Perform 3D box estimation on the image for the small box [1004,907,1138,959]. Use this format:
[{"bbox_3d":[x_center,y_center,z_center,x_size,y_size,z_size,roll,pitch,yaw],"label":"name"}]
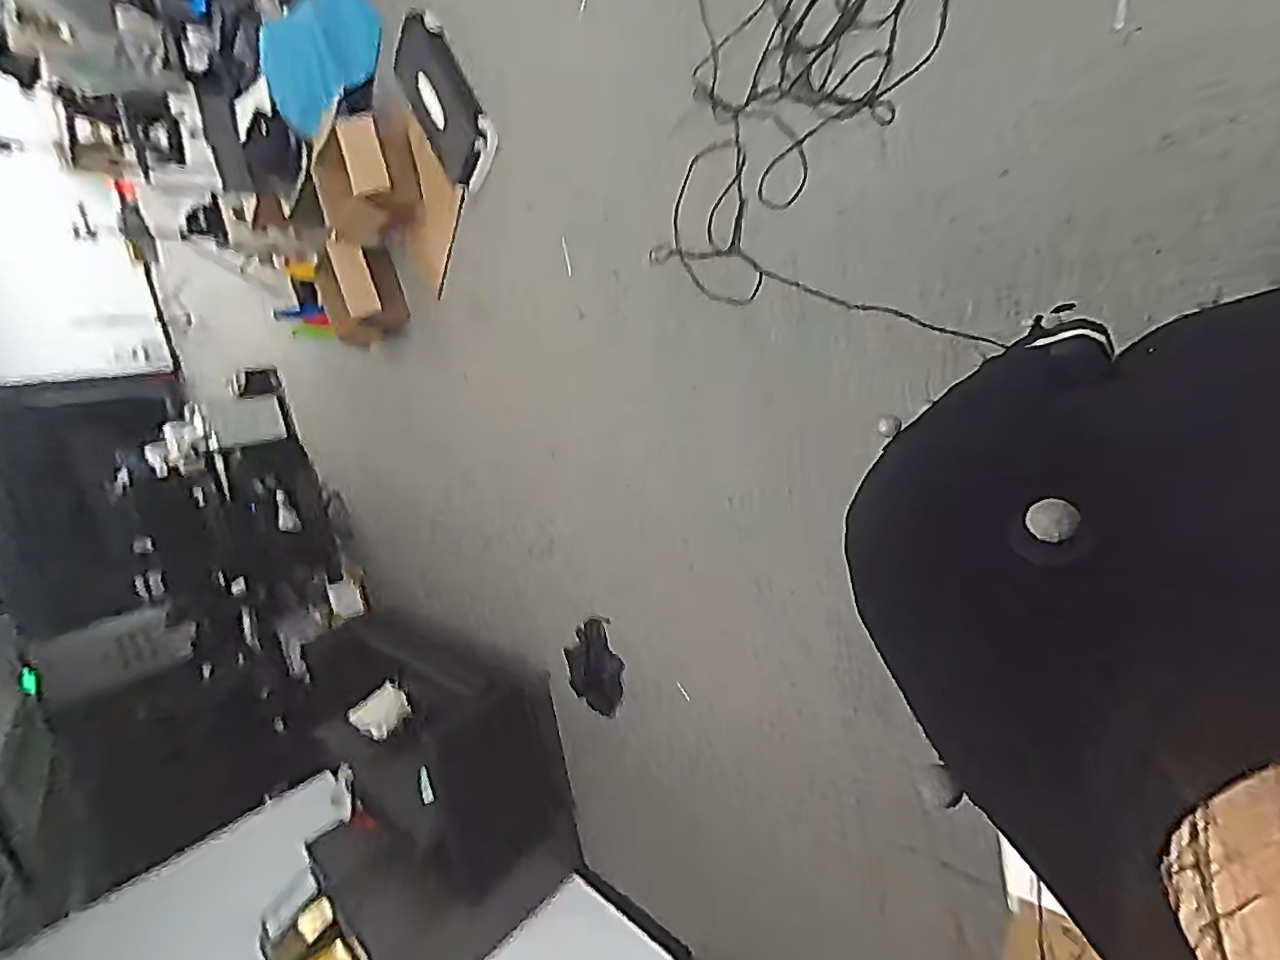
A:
[{"bbox_3d":[0.571,0.713,0.692,0.168,0.176,0.179,-2,103,46],"label":"small box"}]
